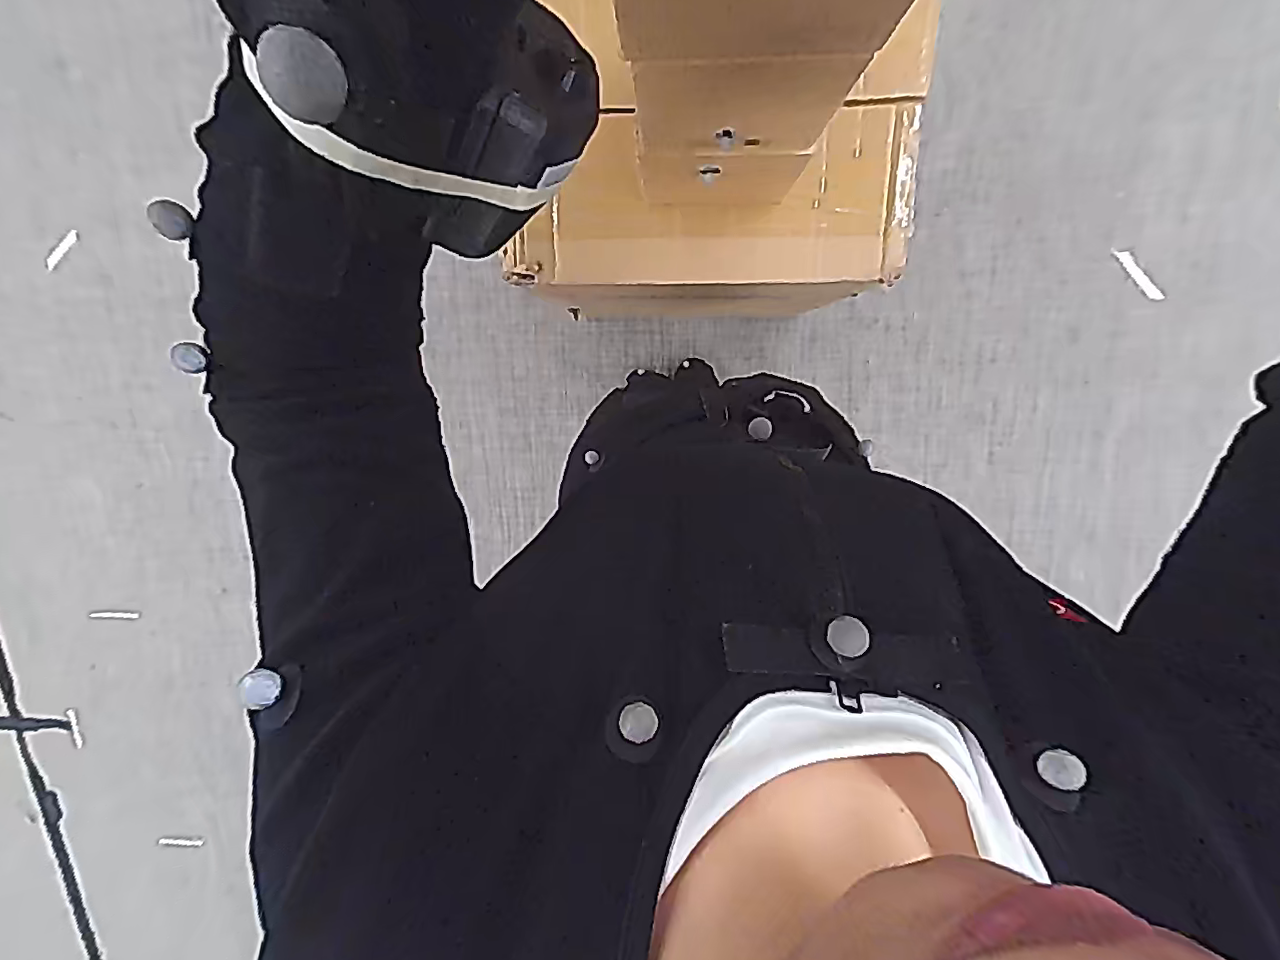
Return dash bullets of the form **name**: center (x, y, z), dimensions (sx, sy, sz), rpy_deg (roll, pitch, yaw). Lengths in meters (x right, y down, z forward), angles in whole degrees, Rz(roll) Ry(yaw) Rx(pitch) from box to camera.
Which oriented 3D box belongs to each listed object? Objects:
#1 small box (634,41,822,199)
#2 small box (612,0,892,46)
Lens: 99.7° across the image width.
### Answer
- **small box**: center (0.087, -0.414, 0.584), dimensions (0.179, 0.176, 0.168), rpy_deg (1, 103, 3)
- **small box**: center (0.068, -0.348, 0.262), dimensions (0.179, 0.176, 0.168), rpy_deg (1, 103, 4)
